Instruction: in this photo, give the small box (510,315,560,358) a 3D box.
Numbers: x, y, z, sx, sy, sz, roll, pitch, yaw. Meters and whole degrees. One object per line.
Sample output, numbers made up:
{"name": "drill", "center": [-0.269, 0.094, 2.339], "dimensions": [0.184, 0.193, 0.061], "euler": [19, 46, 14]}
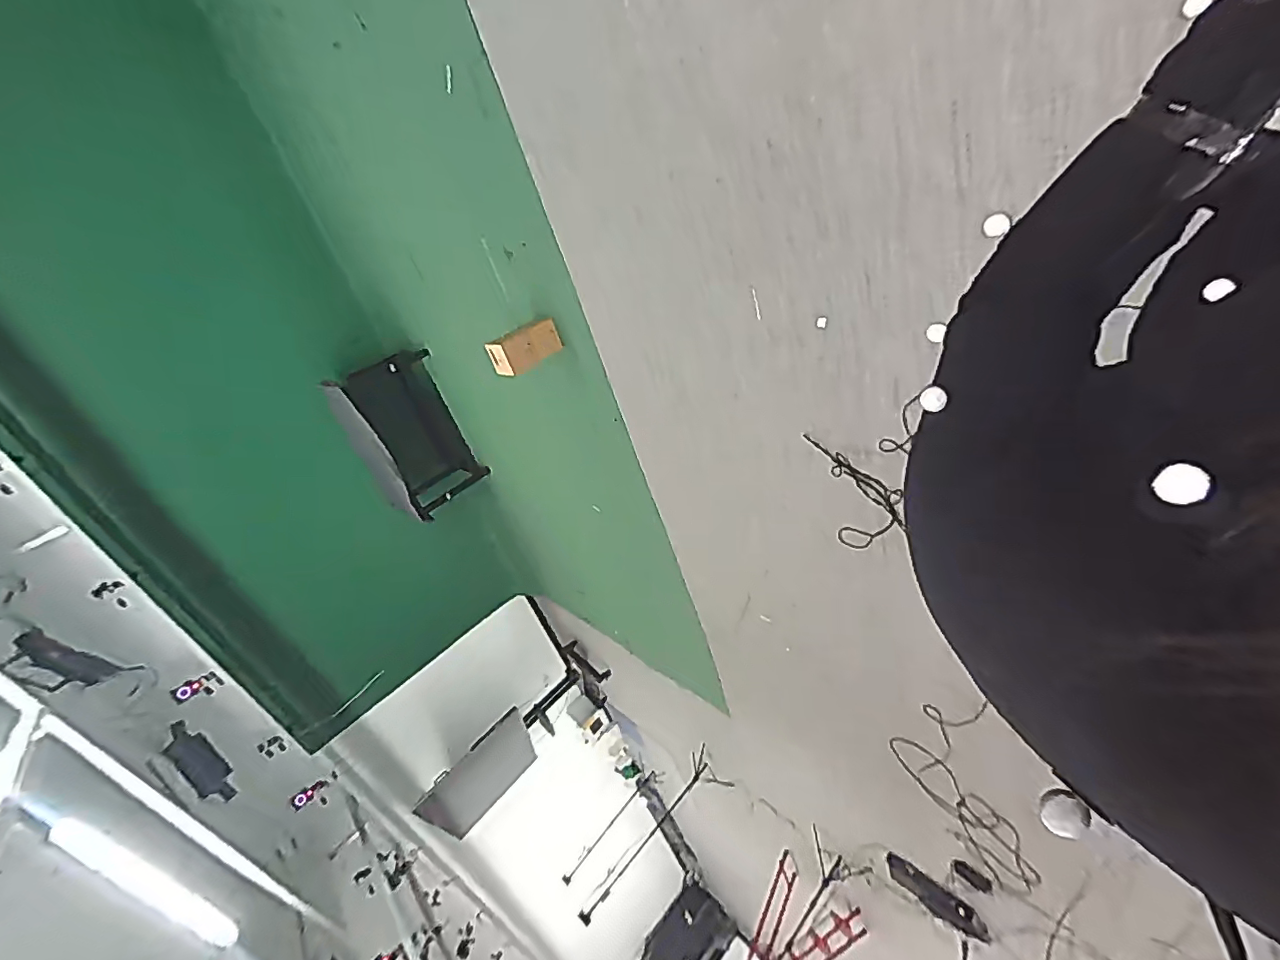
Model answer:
{"name": "small box", "center": [-0.538, -0.749, 2.811], "dimensions": [0.179, 0.176, 0.168], "euler": [17, 137, 47]}
